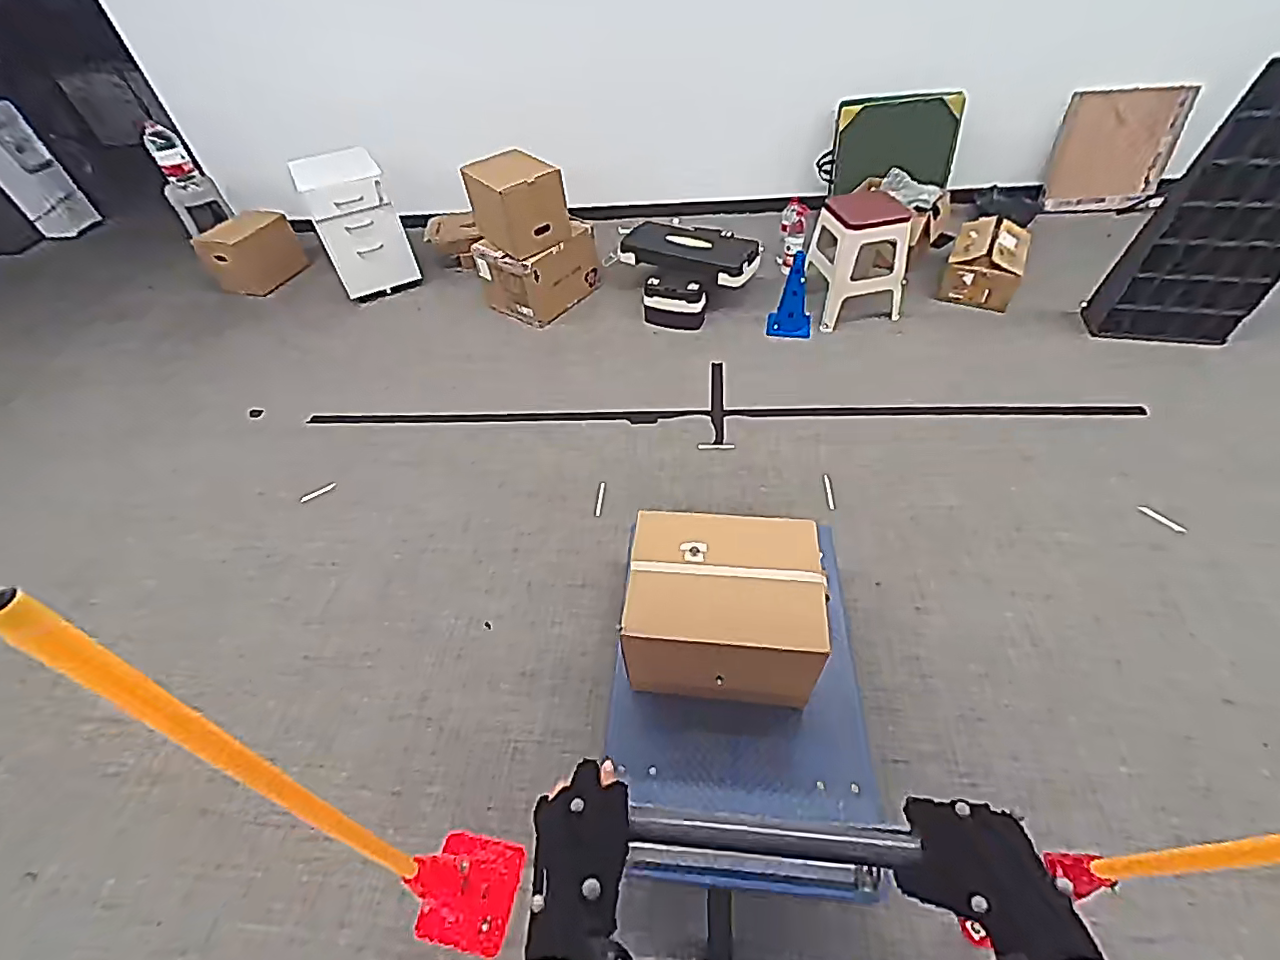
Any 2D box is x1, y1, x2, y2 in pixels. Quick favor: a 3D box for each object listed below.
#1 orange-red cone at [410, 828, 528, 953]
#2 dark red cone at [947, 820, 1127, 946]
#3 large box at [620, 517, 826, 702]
[{"bbox_3d":[-0.377,0.788,1.076,0.198,0.360,0.199,7,48,11],"label":"orange-red cone"},{"bbox_3d":[0.752,0.716,0.995,0.201,0.394,0.202,2,49,5],"label":"dark red cone"},{"bbox_3d":[0.186,0.303,1.256,0.408,0.320,0.320,2,49,8],"label":"large box"}]
